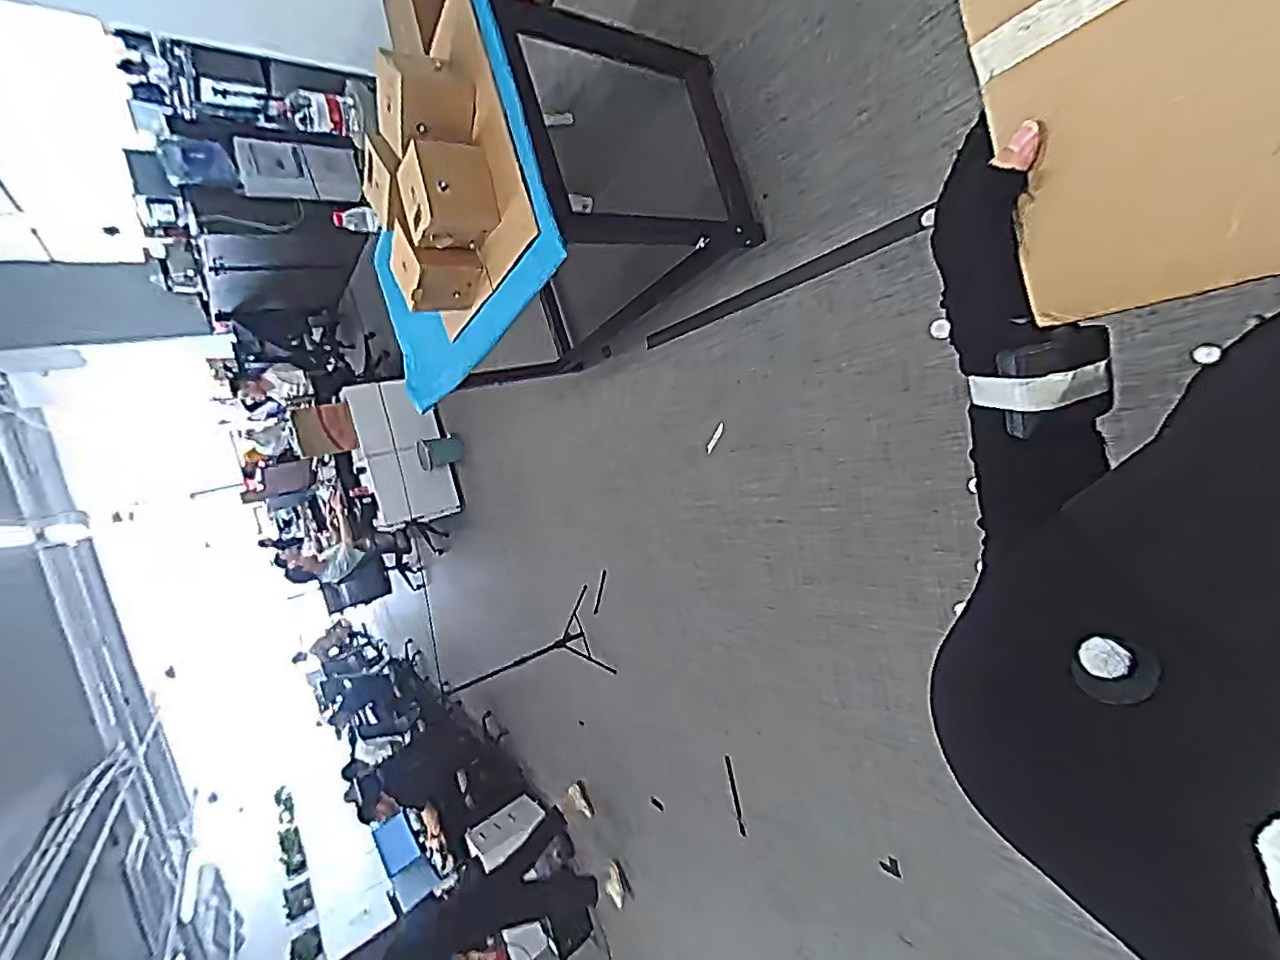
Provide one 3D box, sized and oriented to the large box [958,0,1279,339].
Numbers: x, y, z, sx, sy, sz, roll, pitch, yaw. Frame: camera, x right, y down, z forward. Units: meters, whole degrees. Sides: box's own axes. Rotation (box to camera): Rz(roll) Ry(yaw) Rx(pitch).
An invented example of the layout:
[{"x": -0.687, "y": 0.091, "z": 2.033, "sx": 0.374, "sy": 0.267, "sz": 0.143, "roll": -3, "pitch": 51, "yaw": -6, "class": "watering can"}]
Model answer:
[{"x": 0.423, "y": -0.302, "z": 0.235, "sx": 0.408, "sy": 0.320, "sz": 0.320, "roll": -5, "pitch": 109, "yaw": 56, "class": "large box"}]
